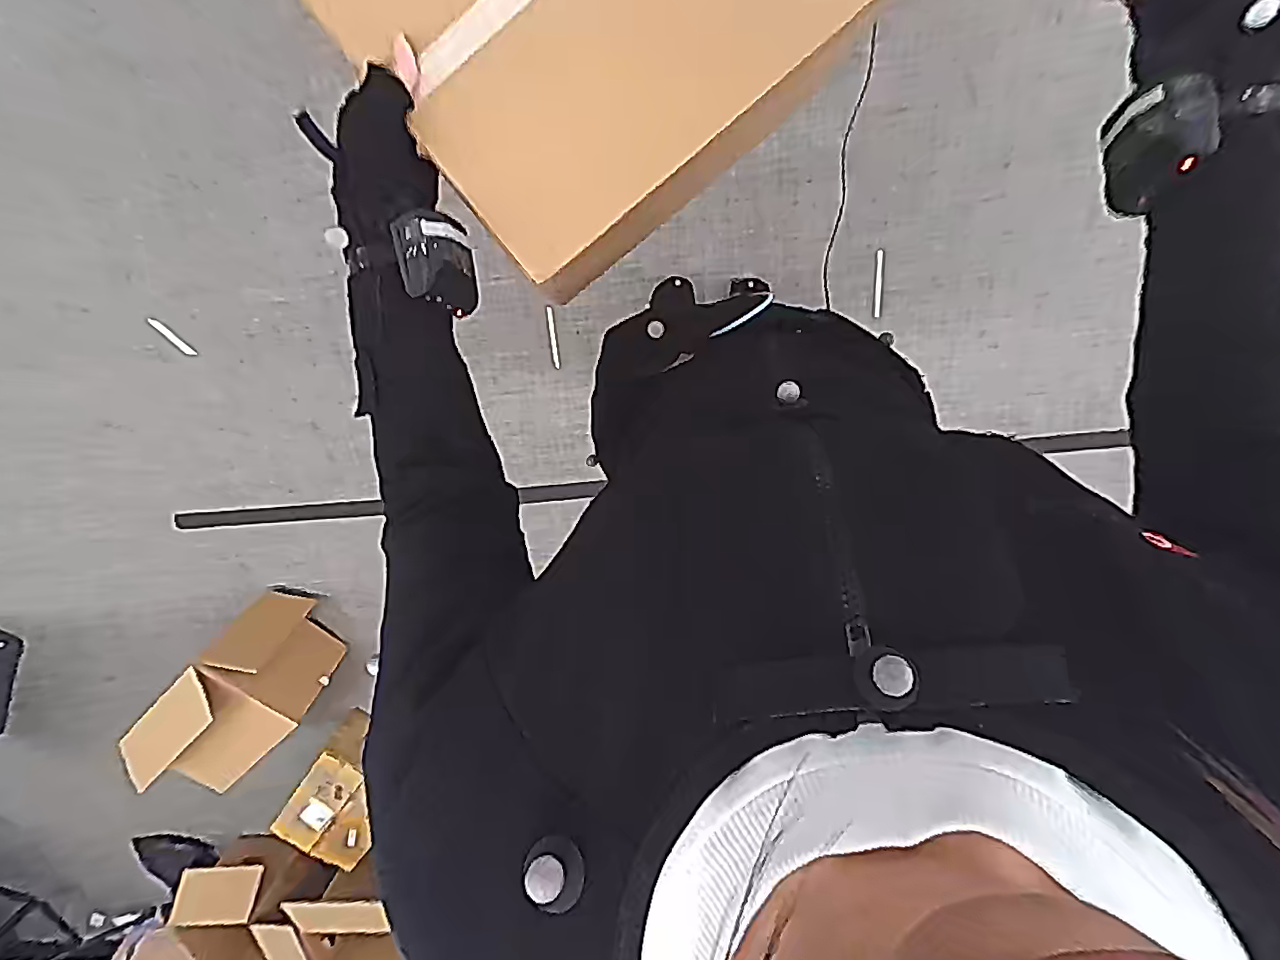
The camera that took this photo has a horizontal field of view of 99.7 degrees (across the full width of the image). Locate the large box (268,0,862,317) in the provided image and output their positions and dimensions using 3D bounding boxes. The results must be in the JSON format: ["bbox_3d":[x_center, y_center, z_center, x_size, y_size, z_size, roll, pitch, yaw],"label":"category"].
[{"bbox_3d":[-0.053,-0.423,0.540,0.408,0.320,0.320,-41,104,5],"label":"large box"}]
